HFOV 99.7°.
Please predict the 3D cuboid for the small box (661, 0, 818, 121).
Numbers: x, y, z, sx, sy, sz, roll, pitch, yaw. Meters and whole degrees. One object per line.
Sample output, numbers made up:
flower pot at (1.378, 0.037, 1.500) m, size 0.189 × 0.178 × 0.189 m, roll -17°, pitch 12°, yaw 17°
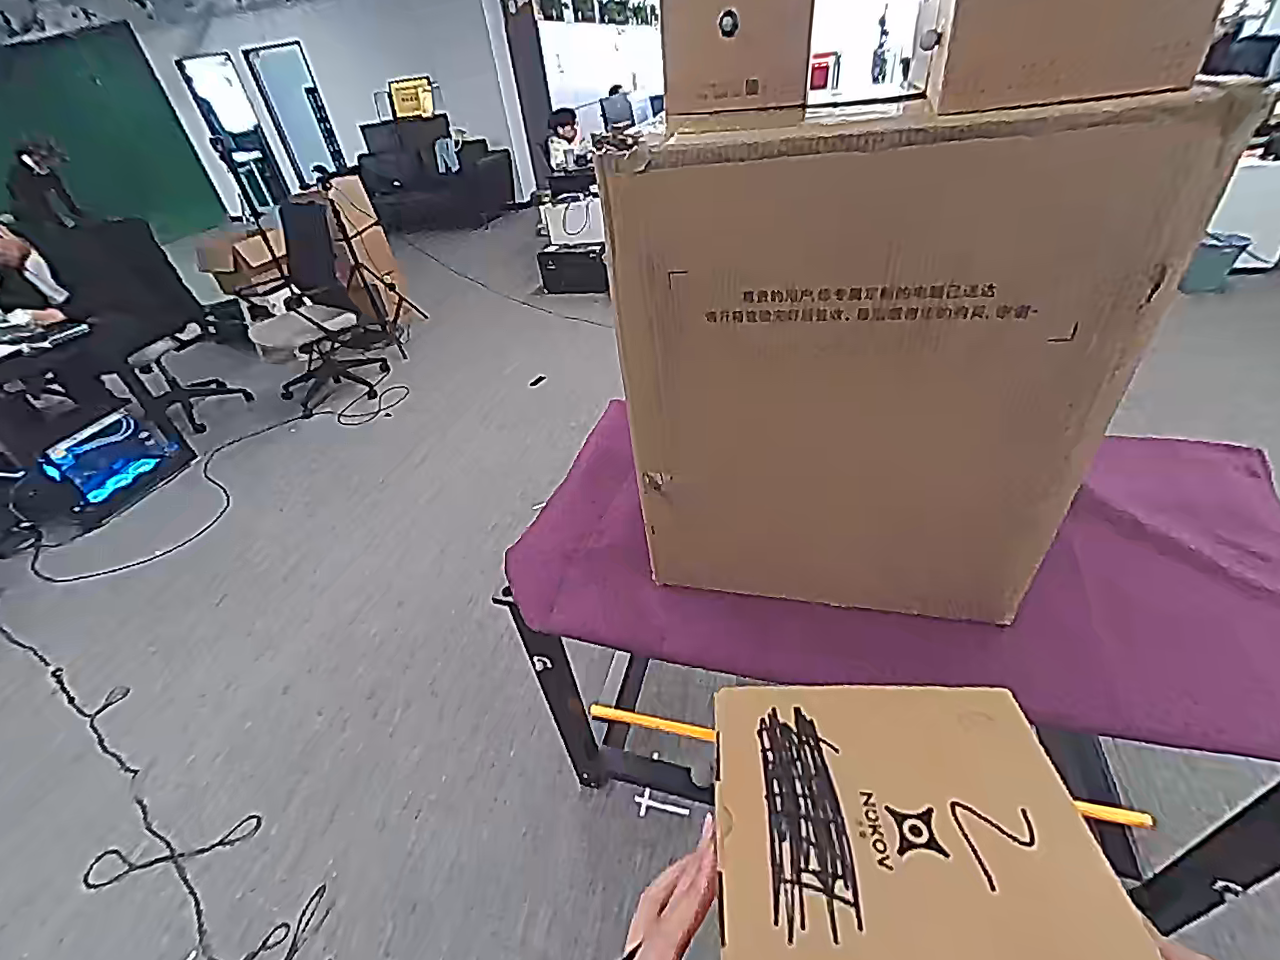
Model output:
small box at (0.124, -0.540, 0.647) m, size 0.168 × 0.176 × 0.179 m, roll 6°, pitch 40°, yaw 15°
